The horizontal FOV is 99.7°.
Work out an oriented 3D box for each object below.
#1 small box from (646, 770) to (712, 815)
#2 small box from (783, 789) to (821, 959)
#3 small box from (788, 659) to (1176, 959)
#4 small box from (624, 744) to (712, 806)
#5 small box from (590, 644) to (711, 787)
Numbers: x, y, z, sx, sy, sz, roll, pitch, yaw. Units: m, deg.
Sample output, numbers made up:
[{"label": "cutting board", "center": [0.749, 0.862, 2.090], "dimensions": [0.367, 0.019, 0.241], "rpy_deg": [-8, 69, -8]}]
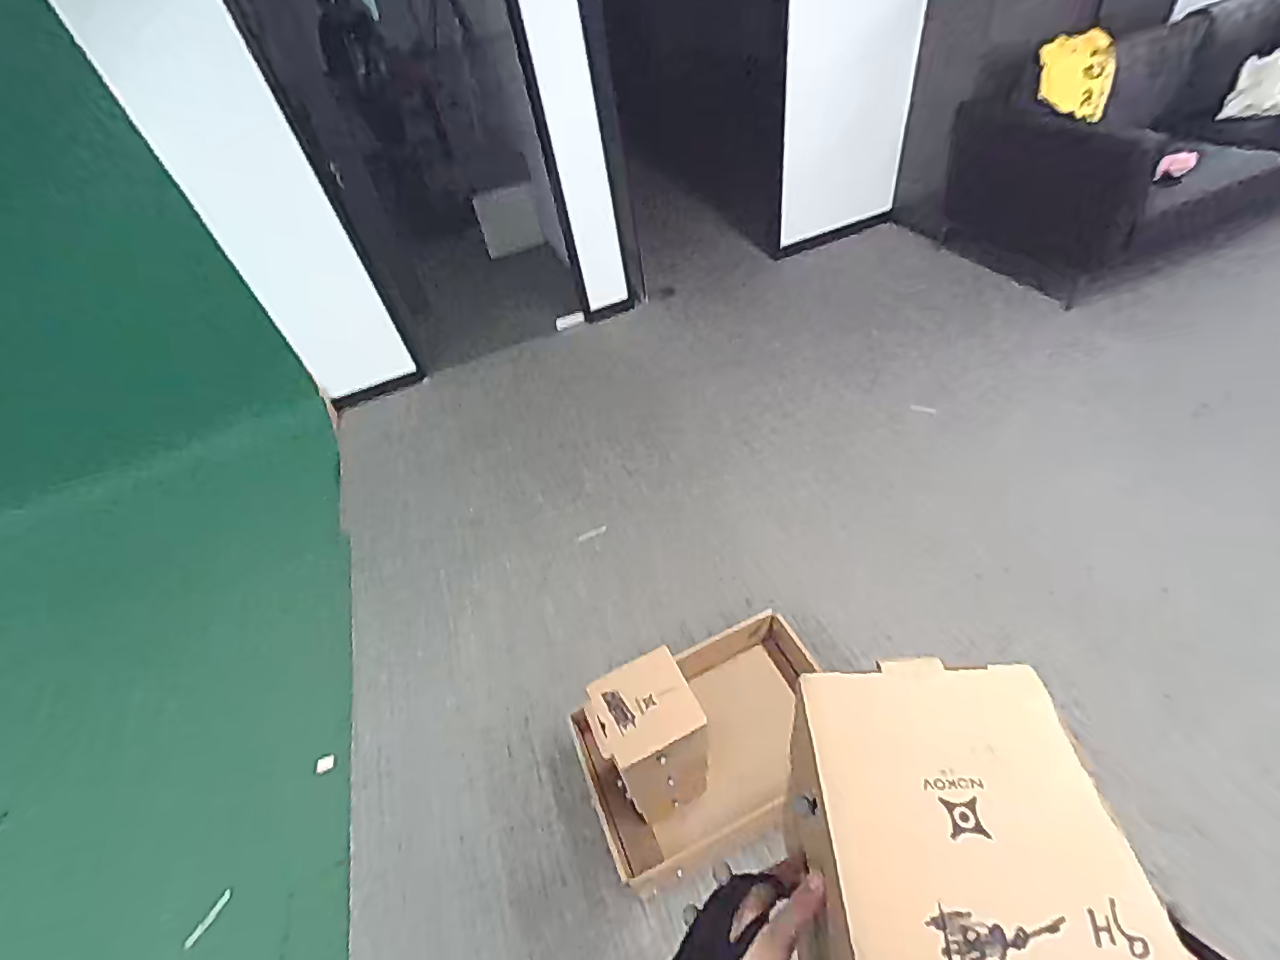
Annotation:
[{"label": "small box", "center": [0.060, 0.669, 1.291], "dimensions": [0.168, 0.176, 0.179], "rpy_deg": [-24, 47, -13]}, {"label": "small box", "center": [0.236, 0.372, 0.506], "dimensions": [0.179, 0.176, 0.168], "rpy_deg": [-5, 44, 8]}, {"label": "small box", "center": [0.206, 0.254, 0.395], "dimensions": [0.168, 0.176, 0.179], "rpy_deg": [-6, 44, 7]}, {"label": "small box", "center": [0.043, 0.567, 1.165], "dimensions": [0.179, 0.176, 0.168], "rpy_deg": [-24, 49, -12]}, {"label": "small box", "center": [0.026, 0.458, 1.044], "dimensions": [0.179, 0.176, 0.168], "rpy_deg": [-24, 49, -12]}]
